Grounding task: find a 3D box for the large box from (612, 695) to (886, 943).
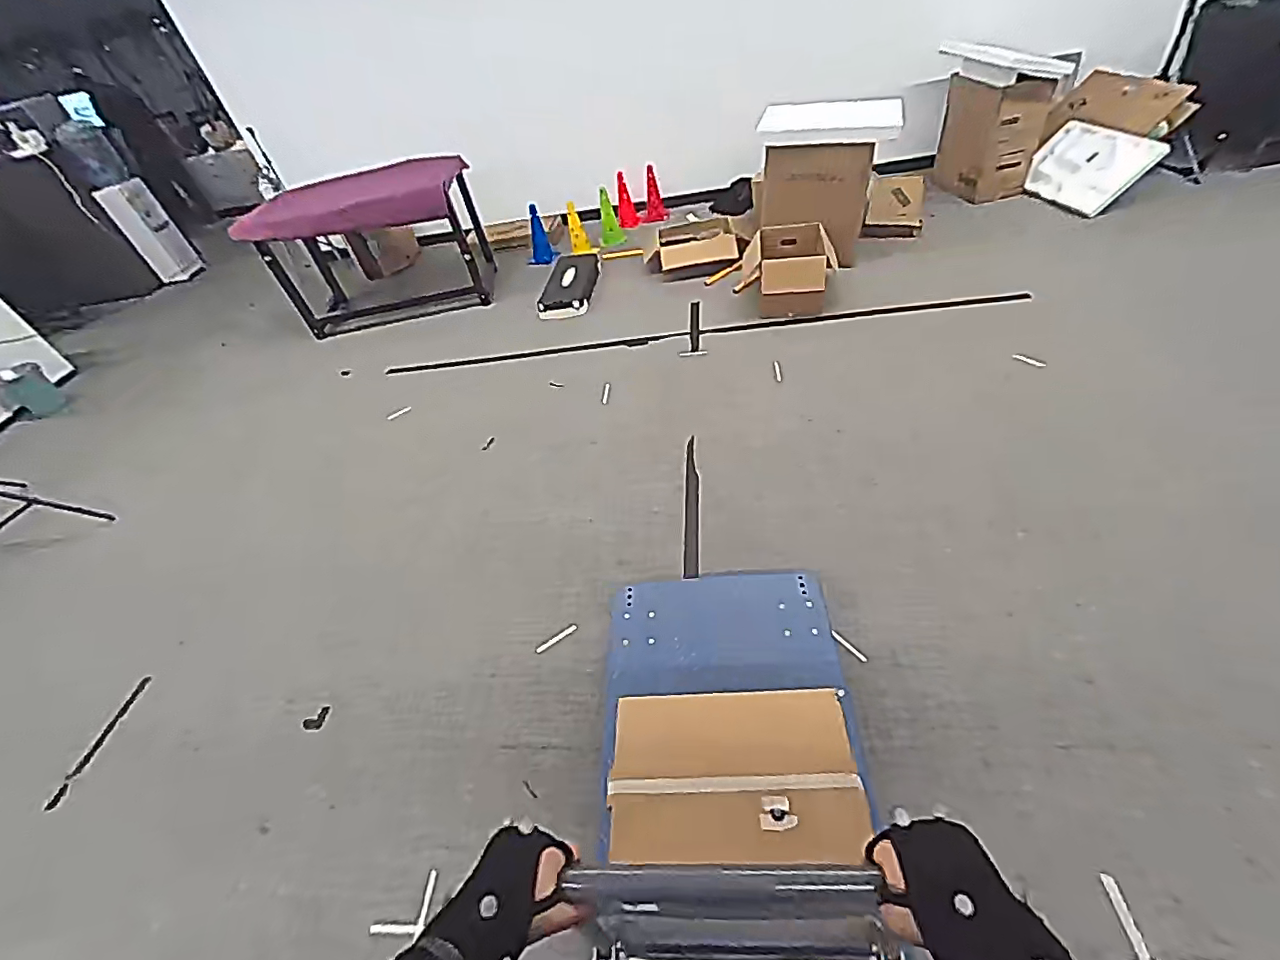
[{"bbox_3d":[0.174,0.620,0.987,0.408,0.320,0.320,-5,44,7],"label":"large box"}]
